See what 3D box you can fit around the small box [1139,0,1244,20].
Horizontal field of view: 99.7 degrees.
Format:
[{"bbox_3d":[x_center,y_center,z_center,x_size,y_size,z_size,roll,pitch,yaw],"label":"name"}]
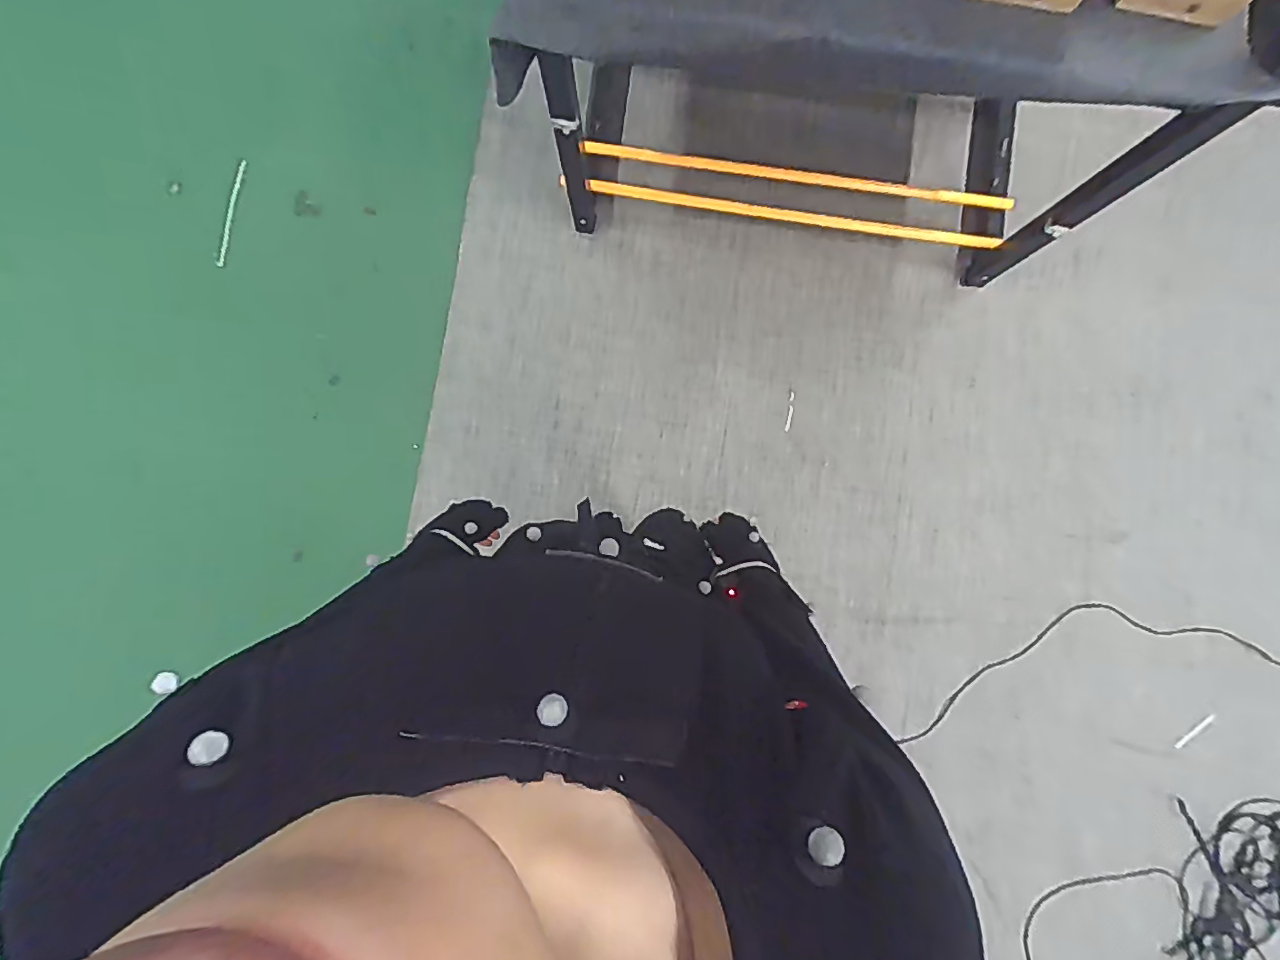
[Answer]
[{"bbox_3d":[0.814,-0.790,0.740,0.168,0.176,0.179,11,86,0],"label":"small box"}]
